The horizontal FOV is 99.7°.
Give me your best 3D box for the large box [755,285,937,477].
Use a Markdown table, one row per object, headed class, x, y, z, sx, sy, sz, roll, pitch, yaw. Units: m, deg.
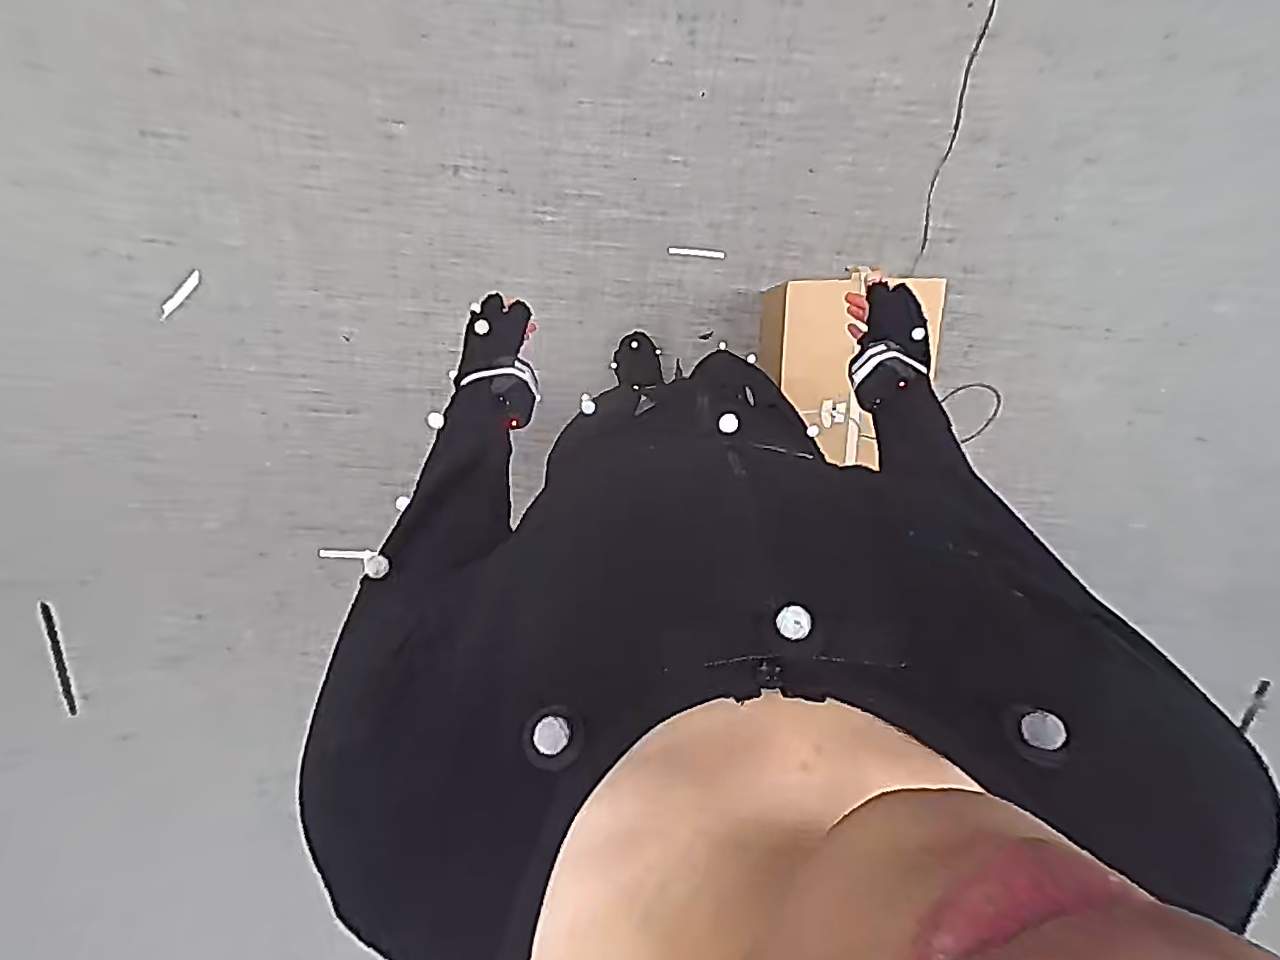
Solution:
| class | x | y | z | sx | sy | sz | roll | pitch | yaw |
| --- | --- | --- | --- | --- | --- | --- | --- | --- | --- |
| large box | 0.459 | -0.242 | 1.292 | 0.320 | 0.320 | 0.408 | 0 | 106 | 3 |
